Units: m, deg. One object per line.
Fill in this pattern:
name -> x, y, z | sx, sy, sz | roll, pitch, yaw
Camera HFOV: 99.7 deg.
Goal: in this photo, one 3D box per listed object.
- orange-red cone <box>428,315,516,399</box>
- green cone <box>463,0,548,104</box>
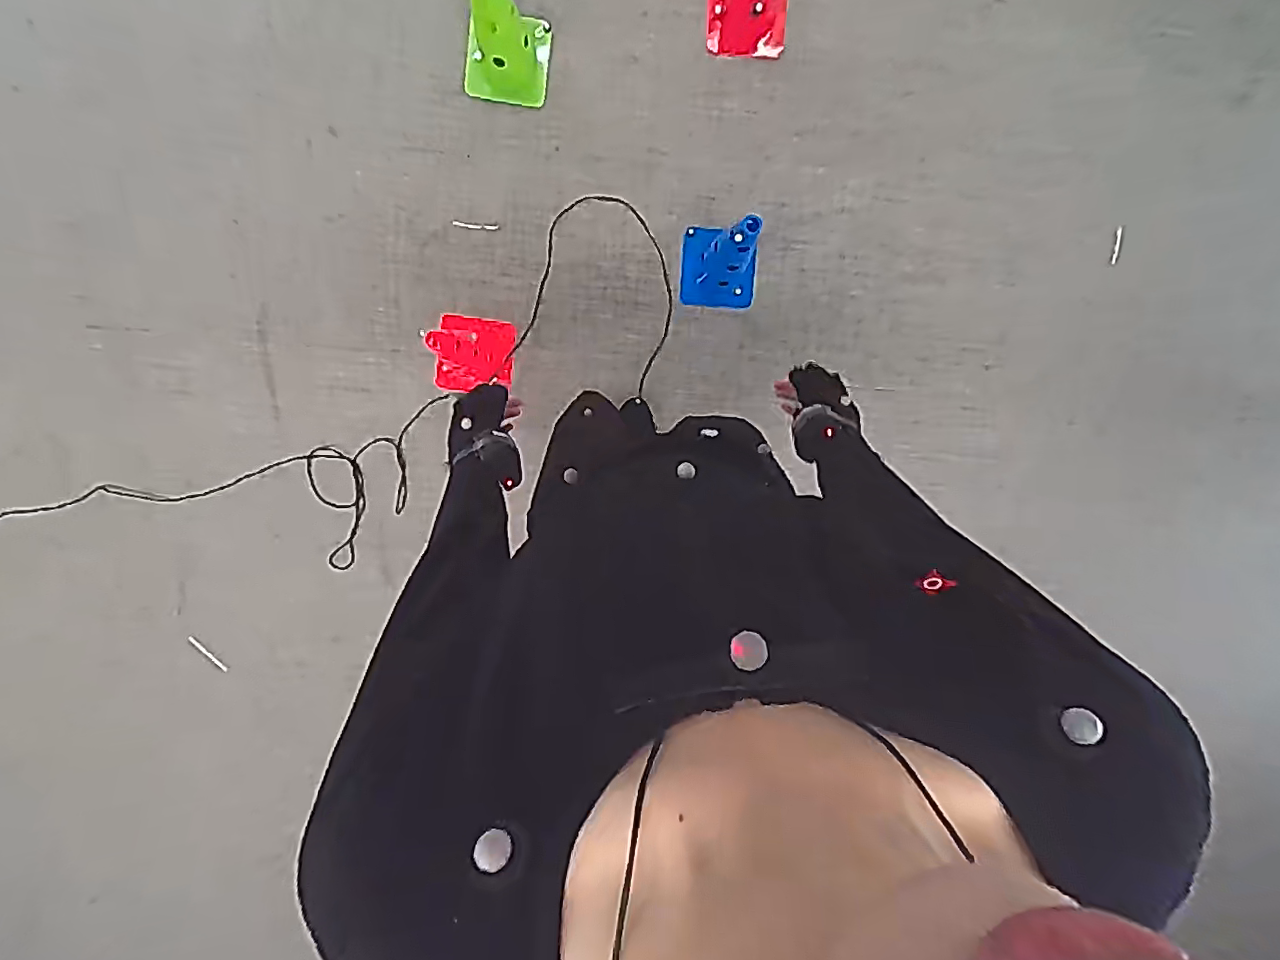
orange-red cone -> -0.425, -0.305, 1.263 | 0.198, 0.360, 0.199 | 9, 96, -5
green cone -> -0.325, -1.025, 1.169 | 0.200, 0.368, 0.202 | 6, 98, -4
